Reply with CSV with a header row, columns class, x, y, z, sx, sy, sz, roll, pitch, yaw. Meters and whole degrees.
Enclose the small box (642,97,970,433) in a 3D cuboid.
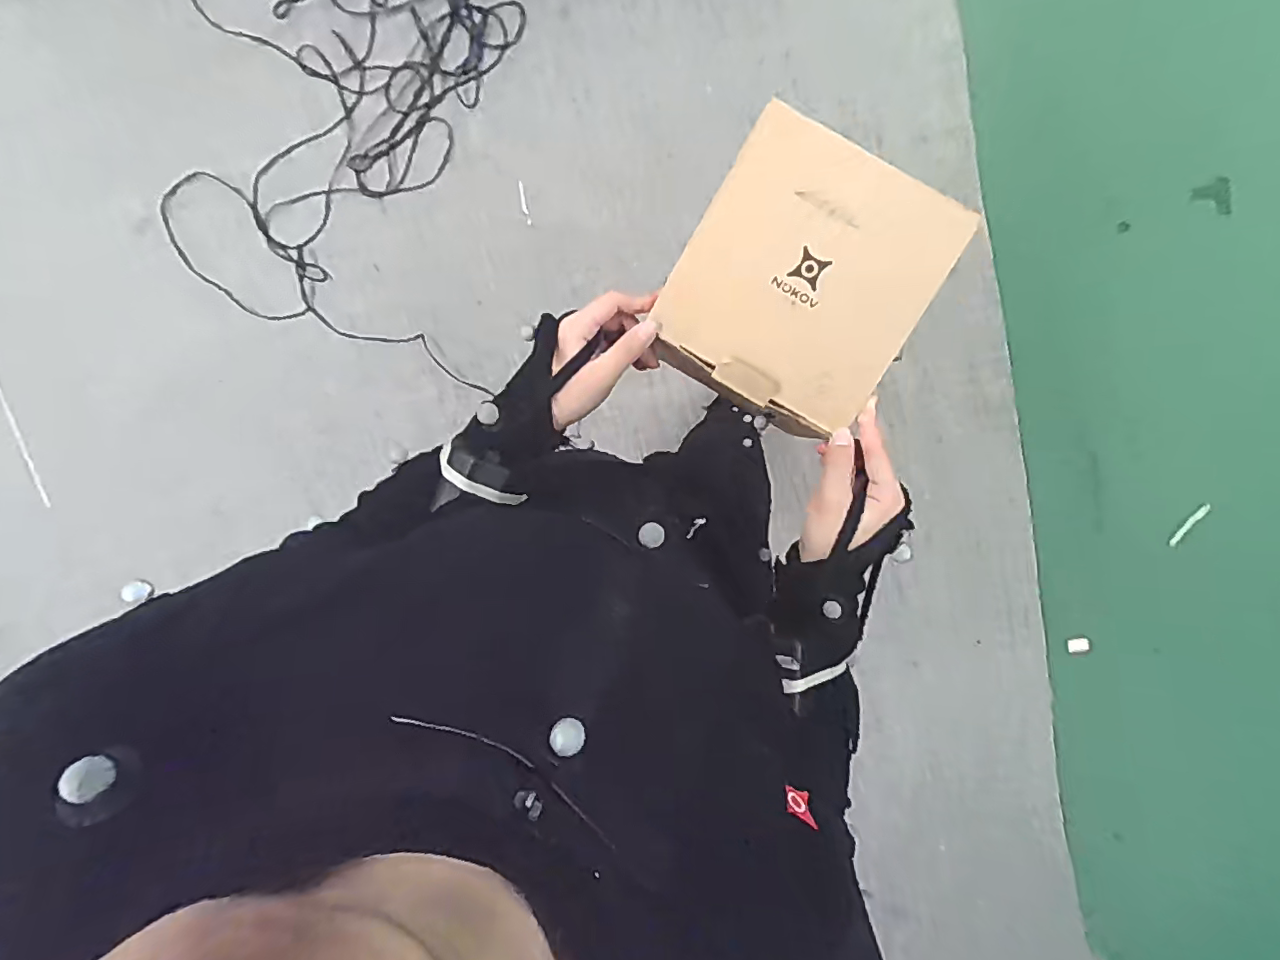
class,x,y,z,sx,sy,sz,roll,pitch,yaw
small box,0.118,-0.153,0.453,0.168,0.176,0.179,29,96,0
